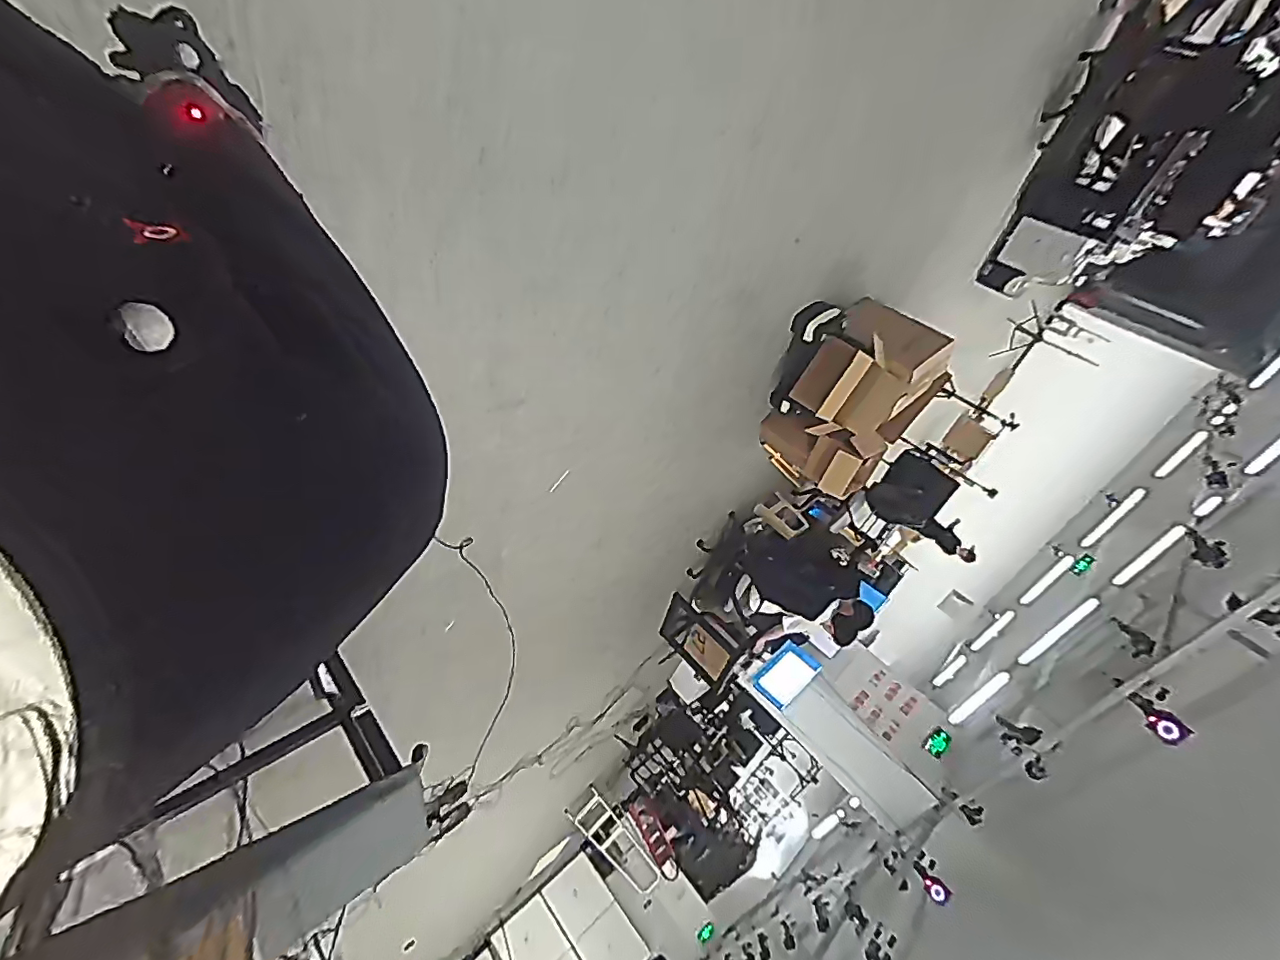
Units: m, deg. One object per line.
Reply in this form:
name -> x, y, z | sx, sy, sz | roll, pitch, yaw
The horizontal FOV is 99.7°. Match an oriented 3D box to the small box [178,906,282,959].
small box -> -1.007, 1.213, 1.341 | 0.168, 0.176, 0.179 | -23, 142, -38
